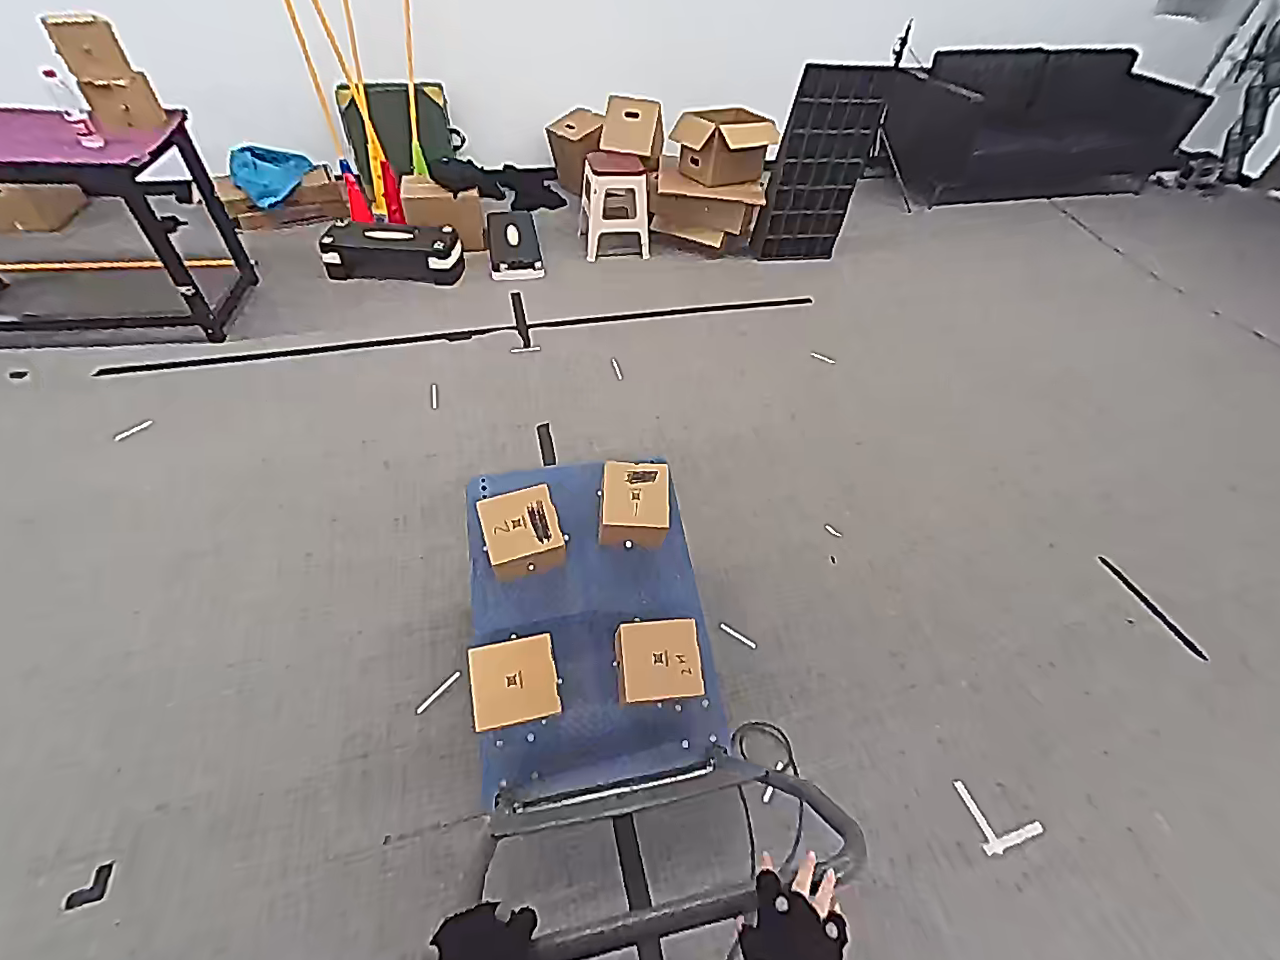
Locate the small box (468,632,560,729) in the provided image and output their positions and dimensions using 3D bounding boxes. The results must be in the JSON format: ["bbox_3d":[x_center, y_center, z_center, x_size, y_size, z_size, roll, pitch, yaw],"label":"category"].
[{"bbox_3d":[-0.274,0.449,1.202,0.179,0.176,0.168,-8,67,-13],"label":"small box"}]

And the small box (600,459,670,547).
[{"bbox_3d":[-0.016,0.065,1.418,0.168,0.176,0.179,4,66,-6],"label":"small box"}]

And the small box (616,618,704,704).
[{"bbox_3d":[0.038,0.424,1.258,0.179,0.176,0.168,-1,66,-9],"label":"small box"}]
